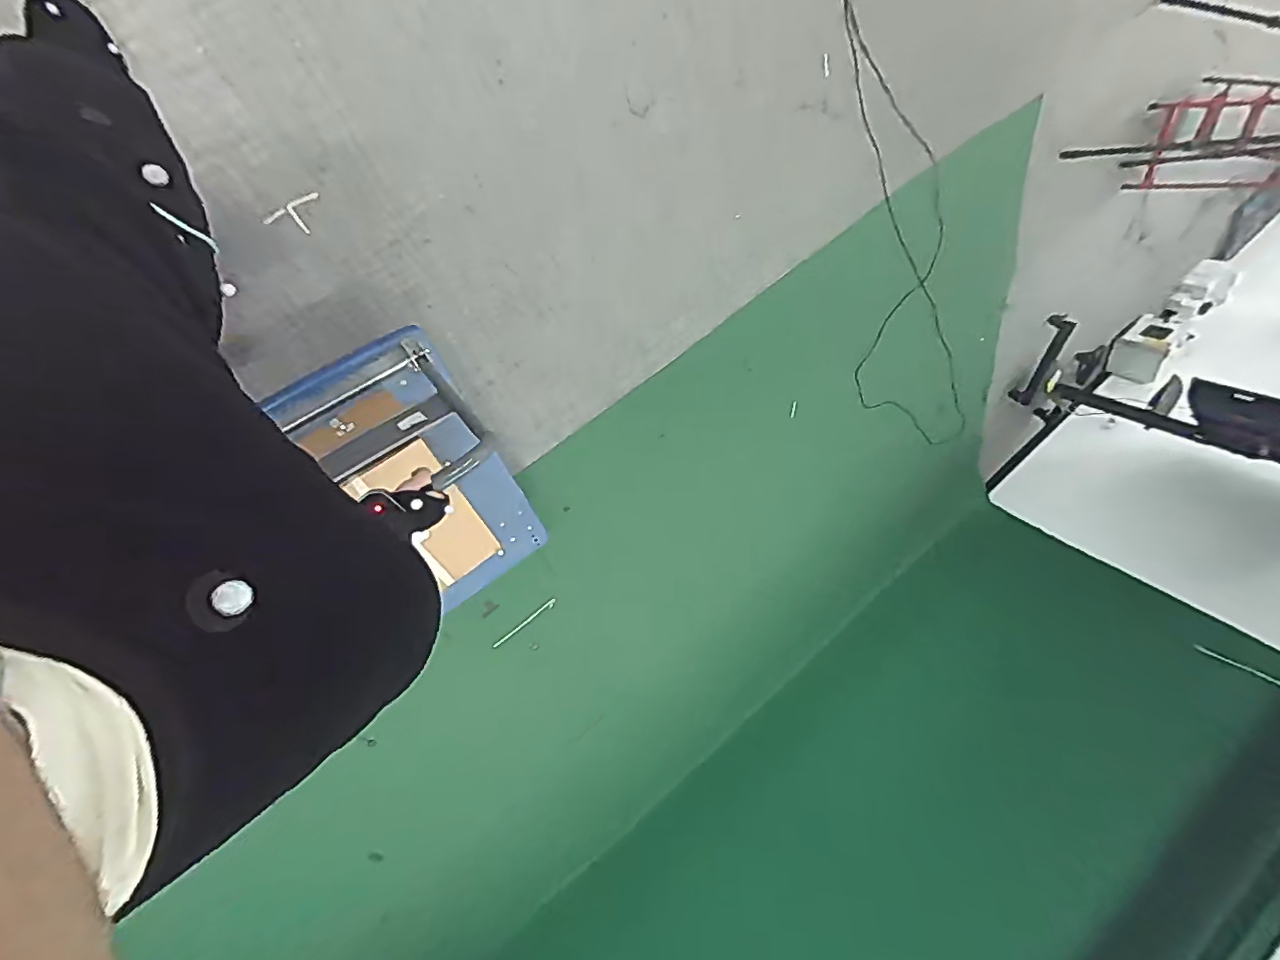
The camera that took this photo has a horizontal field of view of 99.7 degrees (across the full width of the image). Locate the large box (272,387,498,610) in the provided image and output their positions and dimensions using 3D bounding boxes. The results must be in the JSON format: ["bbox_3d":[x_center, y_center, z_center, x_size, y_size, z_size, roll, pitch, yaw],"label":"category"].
[{"bbox_3d":[-0.634,0.044,1.369,0.320,0.320,0.408,-35,135,-14],"label":"large box"}]
